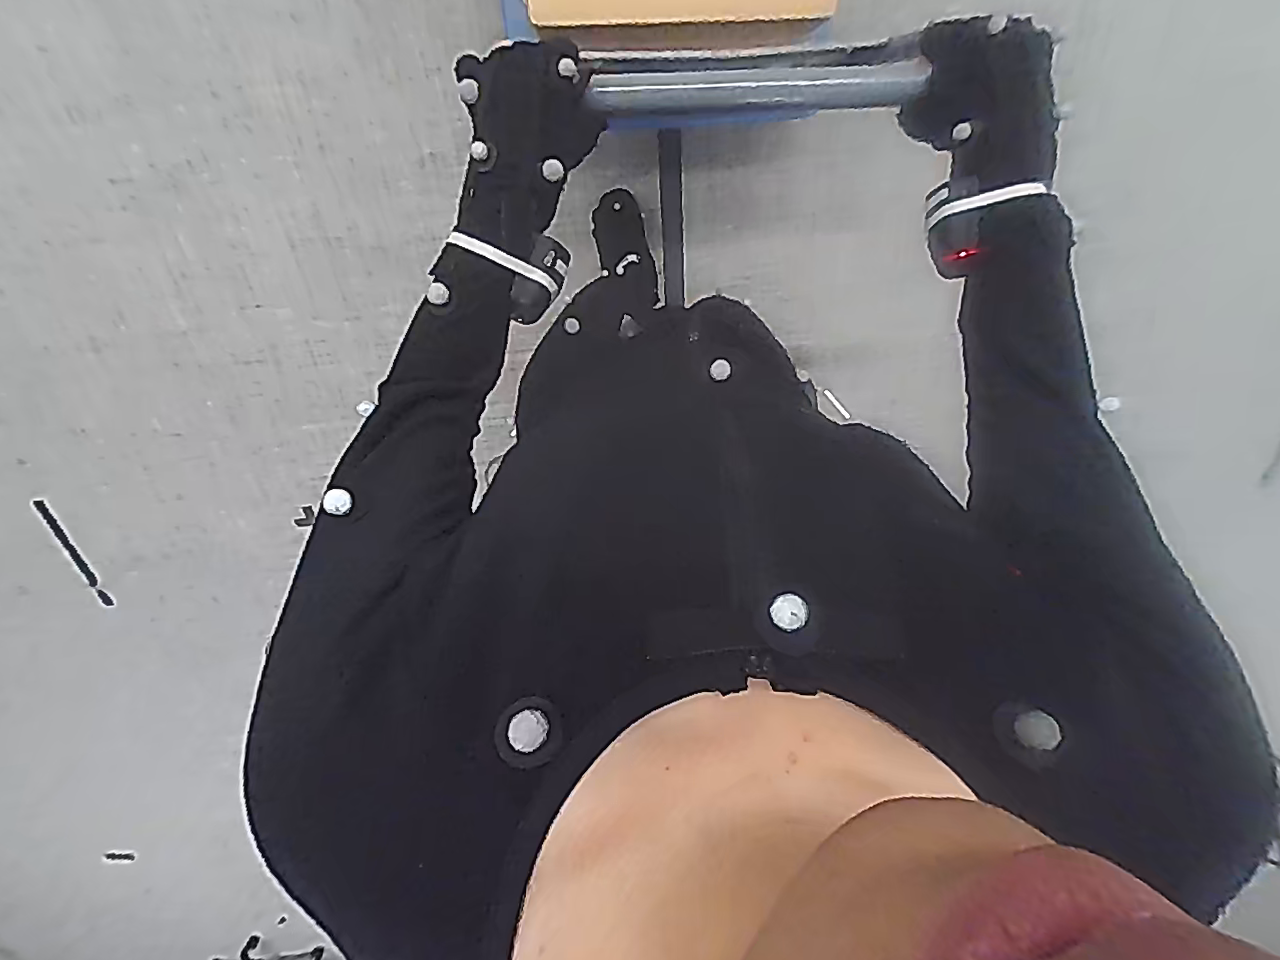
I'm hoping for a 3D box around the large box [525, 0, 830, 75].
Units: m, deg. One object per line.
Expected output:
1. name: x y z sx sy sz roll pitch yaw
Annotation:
1. large box: 0.033 -0.796 0.765 0.408 0.320 0.320 -4 121 -3
